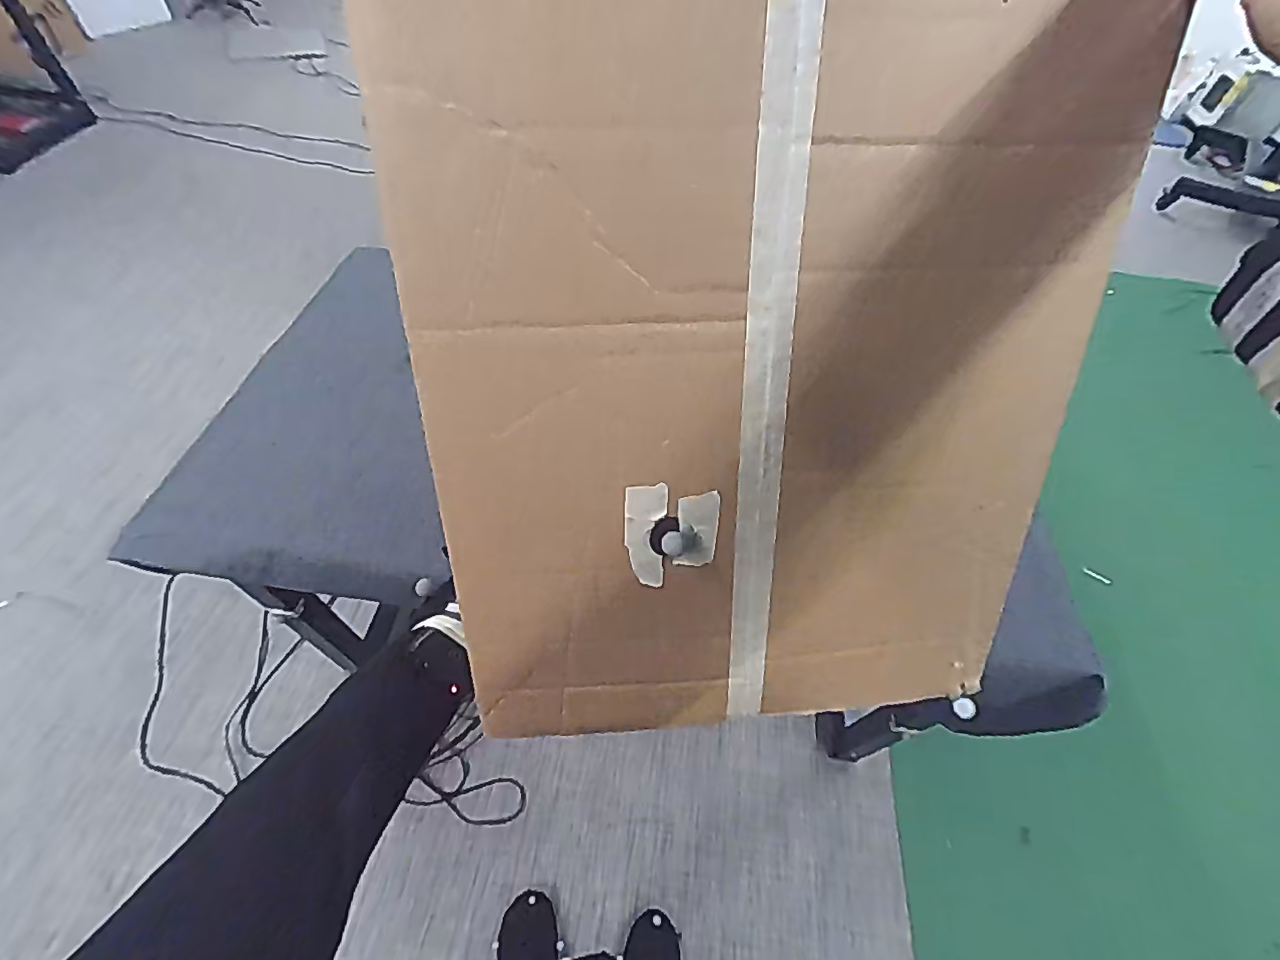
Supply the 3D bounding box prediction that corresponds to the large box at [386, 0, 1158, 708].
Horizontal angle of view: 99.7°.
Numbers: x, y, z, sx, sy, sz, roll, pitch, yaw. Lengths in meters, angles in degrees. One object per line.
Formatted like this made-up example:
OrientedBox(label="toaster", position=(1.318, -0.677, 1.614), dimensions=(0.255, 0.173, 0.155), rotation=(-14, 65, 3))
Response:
OrientedBox(label="large box", position=(0.051, -0.106, 0.410), dimensions=(0.320, 0.408, 0.320), rotation=(-4, 26, -4))
